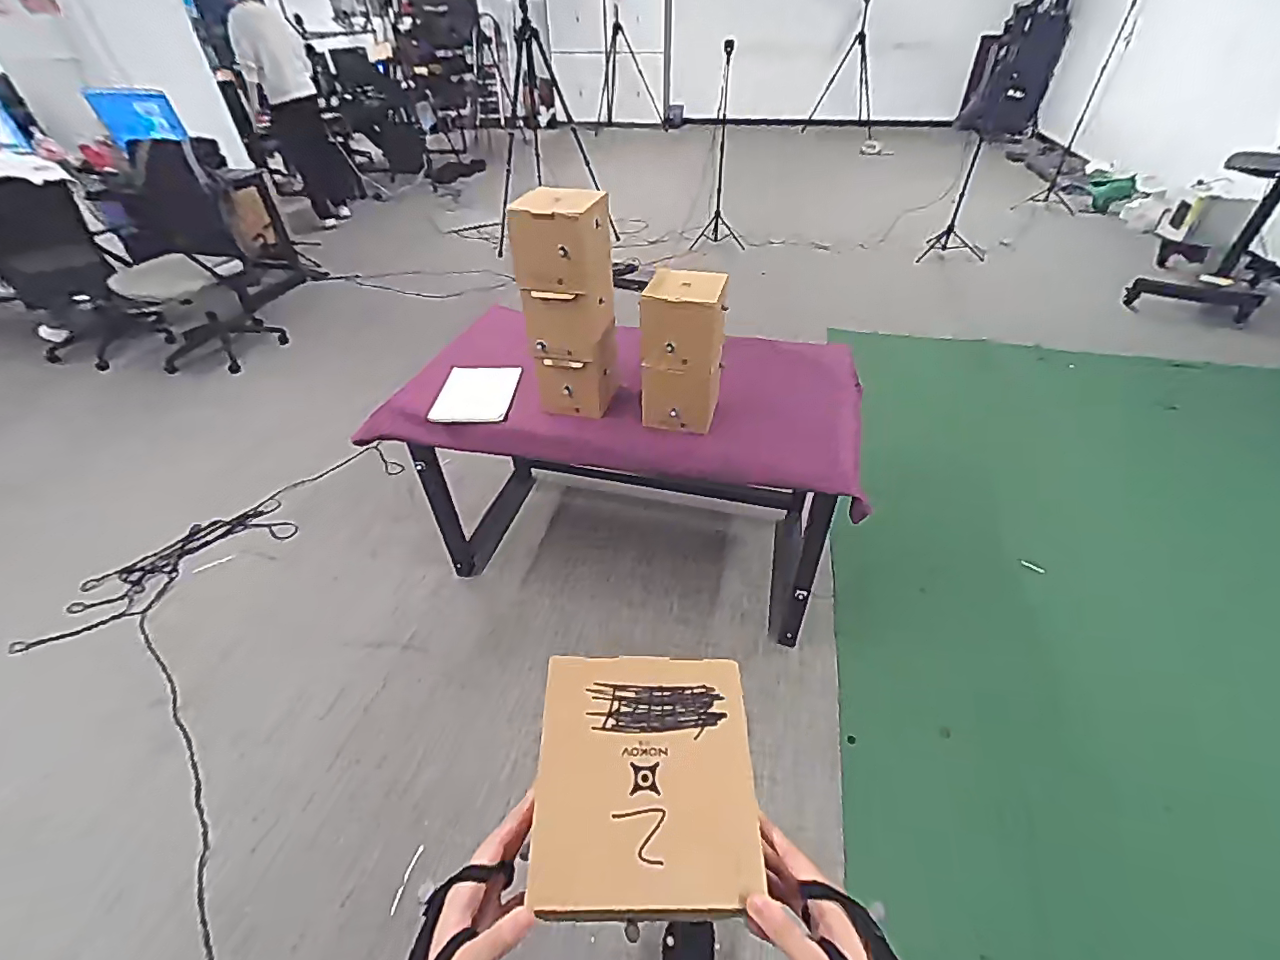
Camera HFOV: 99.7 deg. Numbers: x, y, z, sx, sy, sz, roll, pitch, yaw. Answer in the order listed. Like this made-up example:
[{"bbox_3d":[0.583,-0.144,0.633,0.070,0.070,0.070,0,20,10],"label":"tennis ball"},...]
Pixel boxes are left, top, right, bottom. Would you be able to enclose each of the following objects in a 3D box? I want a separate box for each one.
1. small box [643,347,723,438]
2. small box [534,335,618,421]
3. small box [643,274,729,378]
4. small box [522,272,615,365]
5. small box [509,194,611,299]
[{"bbox_3d":[0.108,-0.228,1.351,0.168,0.176,0.179,9,41,12],"label":"small box"},{"bbox_3d":[-0.157,-0.273,1.413,0.168,0.176,0.179,10,43,11],"label":"small box"},{"bbox_3d":[0.105,-0.356,1.251,0.168,0.176,0.179,10,42,12],"label":"small box"},{"bbox_3d":[-0.161,-0.394,1.300,0.168,0.176,0.179,10,41,12],"label":"small box"},{"bbox_3d":[-0.164,-0.514,1.190,0.168,0.176,0.179,11,42,12],"label":"small box"}]
